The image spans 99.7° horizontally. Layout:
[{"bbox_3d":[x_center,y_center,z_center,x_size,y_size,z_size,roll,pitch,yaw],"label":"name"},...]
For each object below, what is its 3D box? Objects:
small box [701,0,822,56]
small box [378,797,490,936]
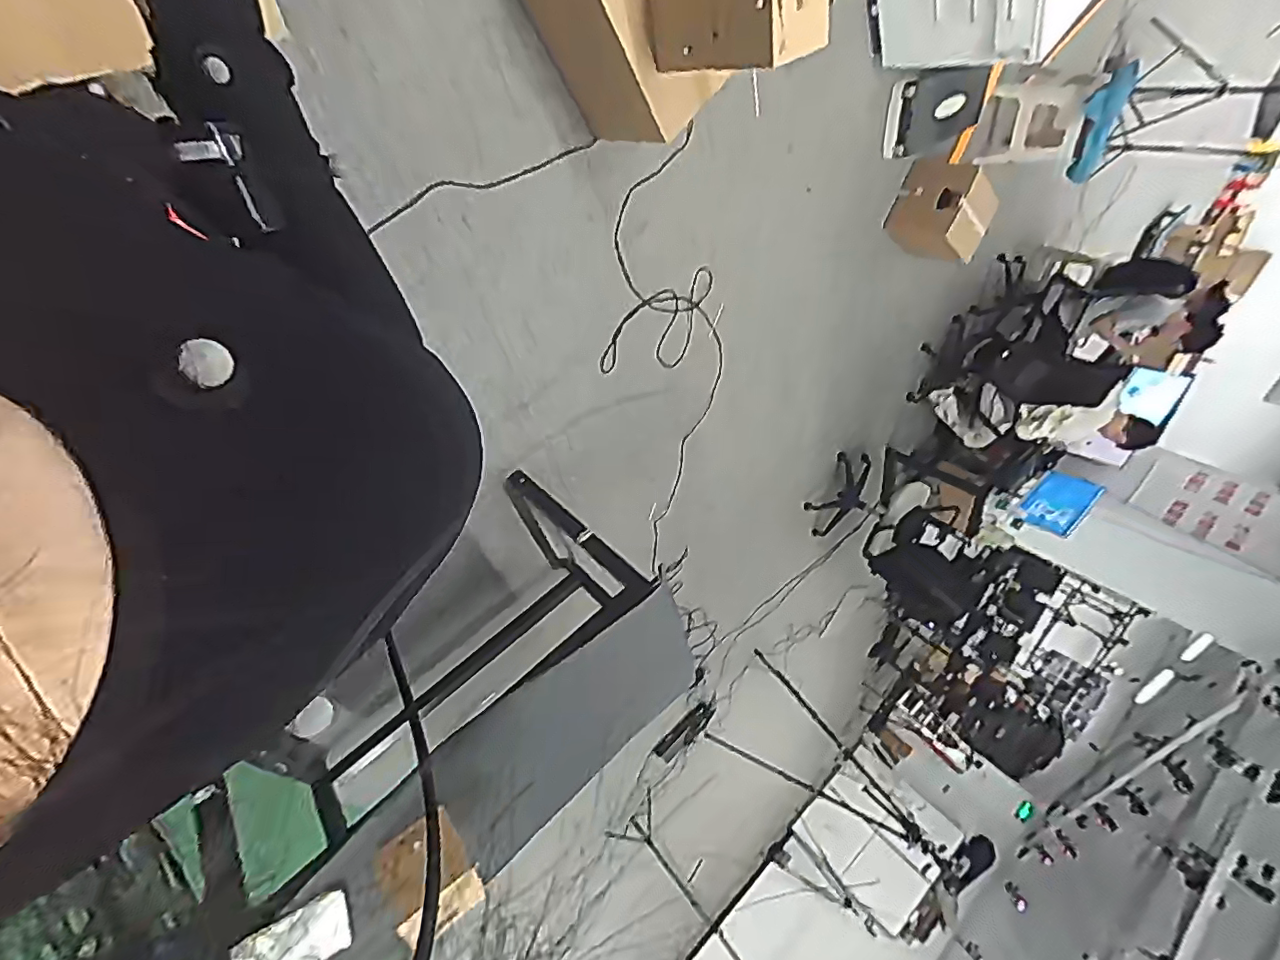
[{"bbox_3d":[0.237,-0.954,1.056,0.179,0.176,0.168,-38,138,-22],"label":"small box"},{"bbox_3d":[-0.463,0.865,1.224,0.168,0.176,0.179,-27,134,-31],"label":"small box"}]
